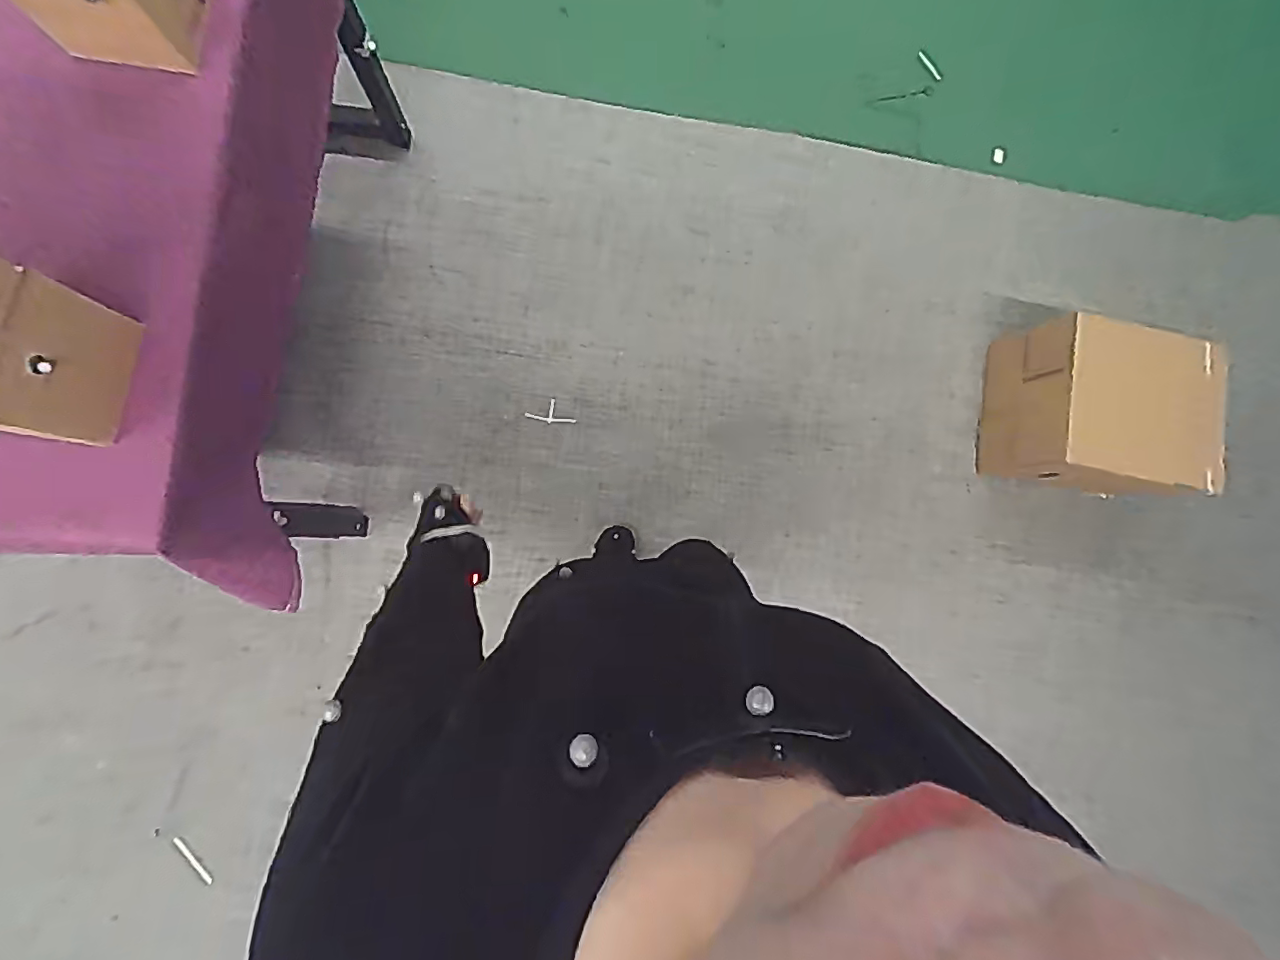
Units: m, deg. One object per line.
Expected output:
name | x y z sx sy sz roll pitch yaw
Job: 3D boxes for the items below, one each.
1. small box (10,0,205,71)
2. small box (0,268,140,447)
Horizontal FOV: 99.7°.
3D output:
small box | -0.719 -0.685 0.709 0.179 0.176 0.168 5 83 -5
small box | -0.764 -0.143 0.650 0.168 0.176 0.179 8 83 -5
